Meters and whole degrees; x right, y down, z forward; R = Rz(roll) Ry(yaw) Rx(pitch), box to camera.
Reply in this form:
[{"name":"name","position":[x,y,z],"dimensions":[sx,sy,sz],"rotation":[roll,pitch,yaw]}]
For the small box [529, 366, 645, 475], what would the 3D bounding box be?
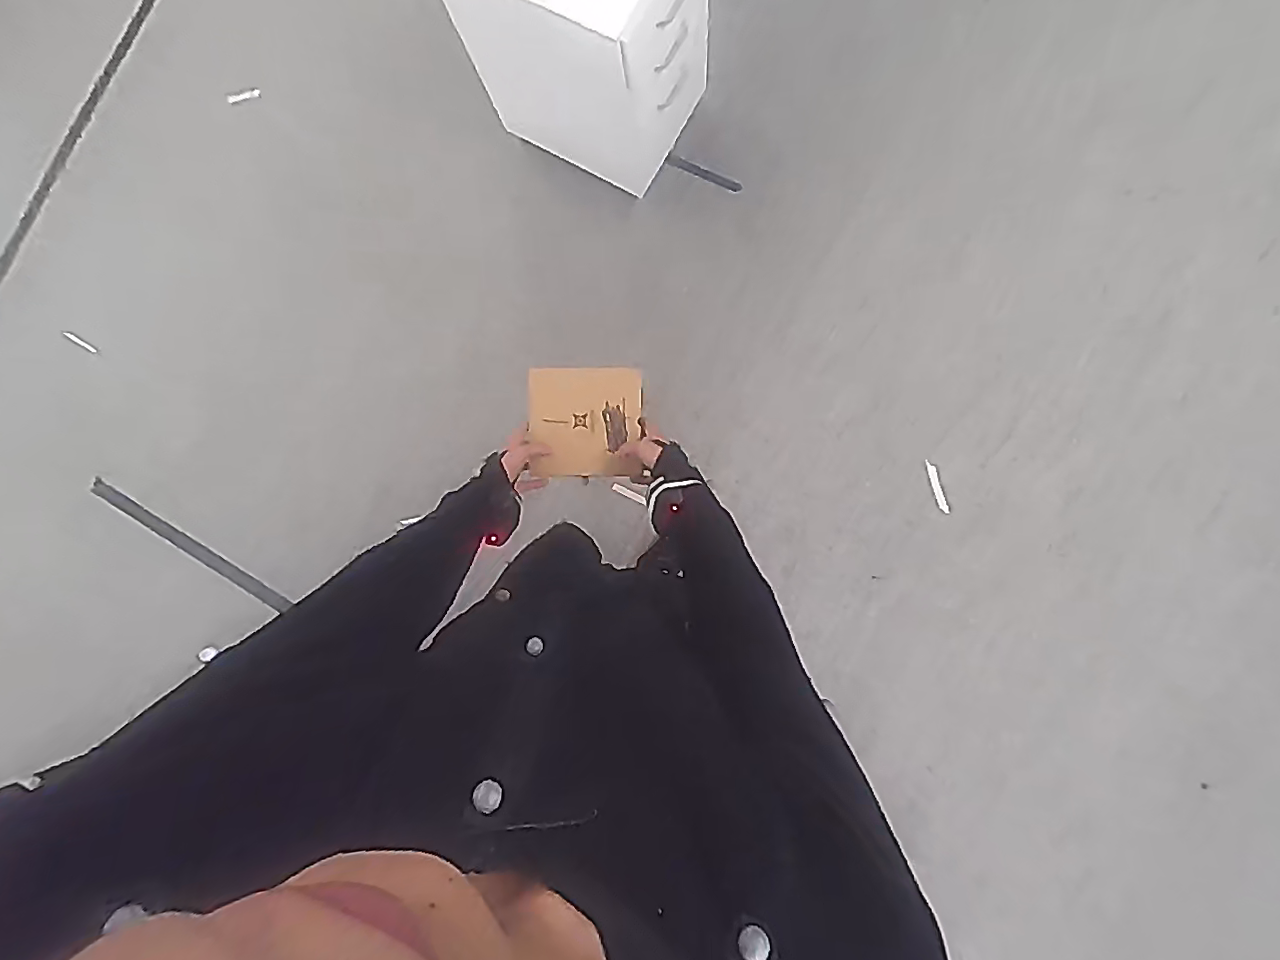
[{"name":"small box","position":[-0.079,-0.092,0.894],"dimensions":[0.179,0.176,0.168],"rotation":[0,91,2]}]
